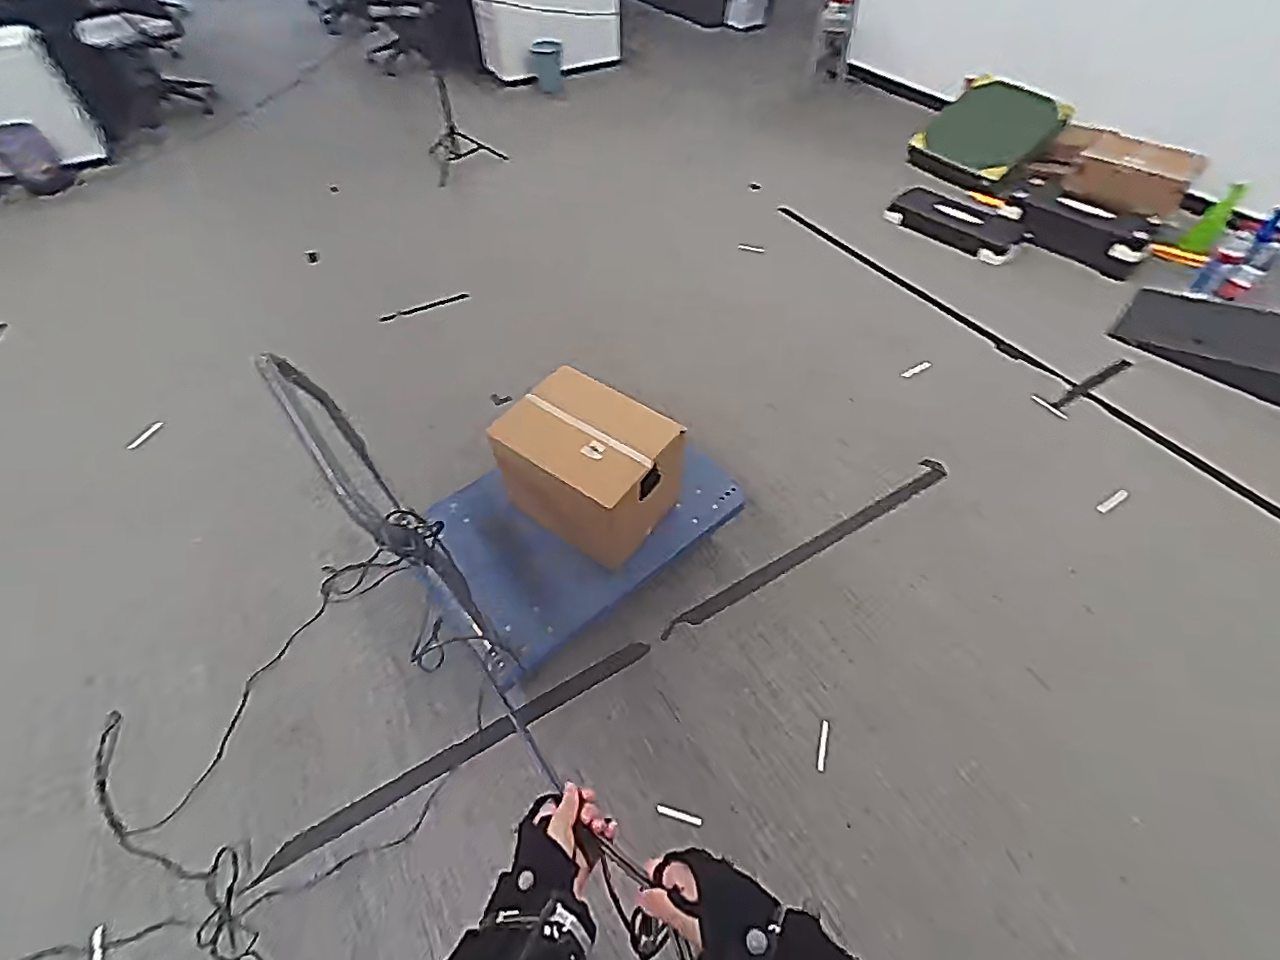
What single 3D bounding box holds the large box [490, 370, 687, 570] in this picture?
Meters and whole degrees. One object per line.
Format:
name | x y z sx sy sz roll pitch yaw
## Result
large box | -0.133 -0.030 1.470 0.408 0.320 0.320 30 59 20
